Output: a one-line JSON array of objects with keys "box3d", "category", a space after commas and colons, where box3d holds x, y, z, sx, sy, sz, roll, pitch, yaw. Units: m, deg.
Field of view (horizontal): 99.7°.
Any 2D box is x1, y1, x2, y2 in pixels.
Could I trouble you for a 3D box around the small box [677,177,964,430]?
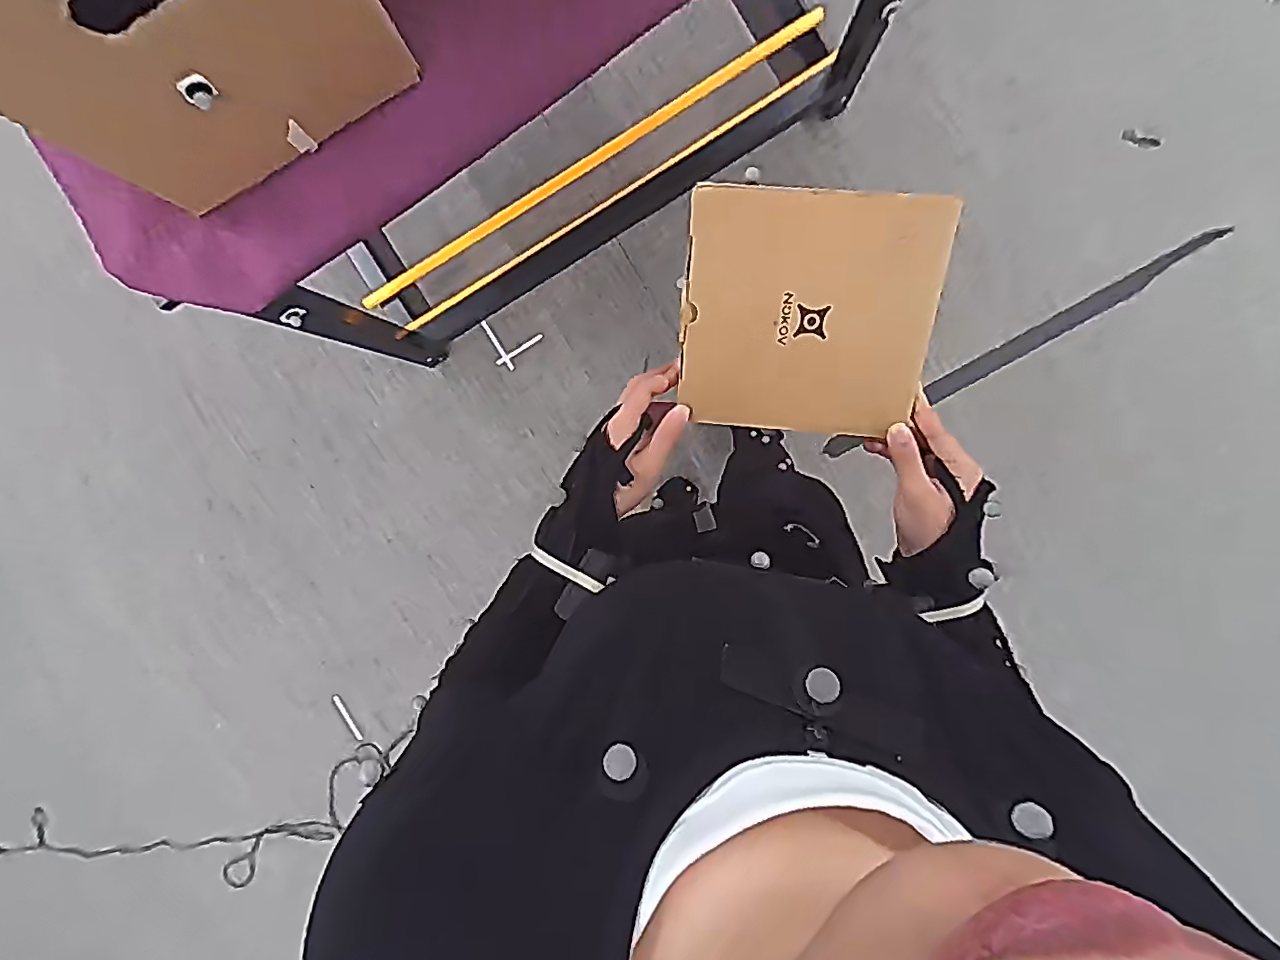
[{"box3d": [0.129, -0.151, 0.457, 0.179, 0.176, 0.168, 6, 113, 6], "category": "small box"}]
